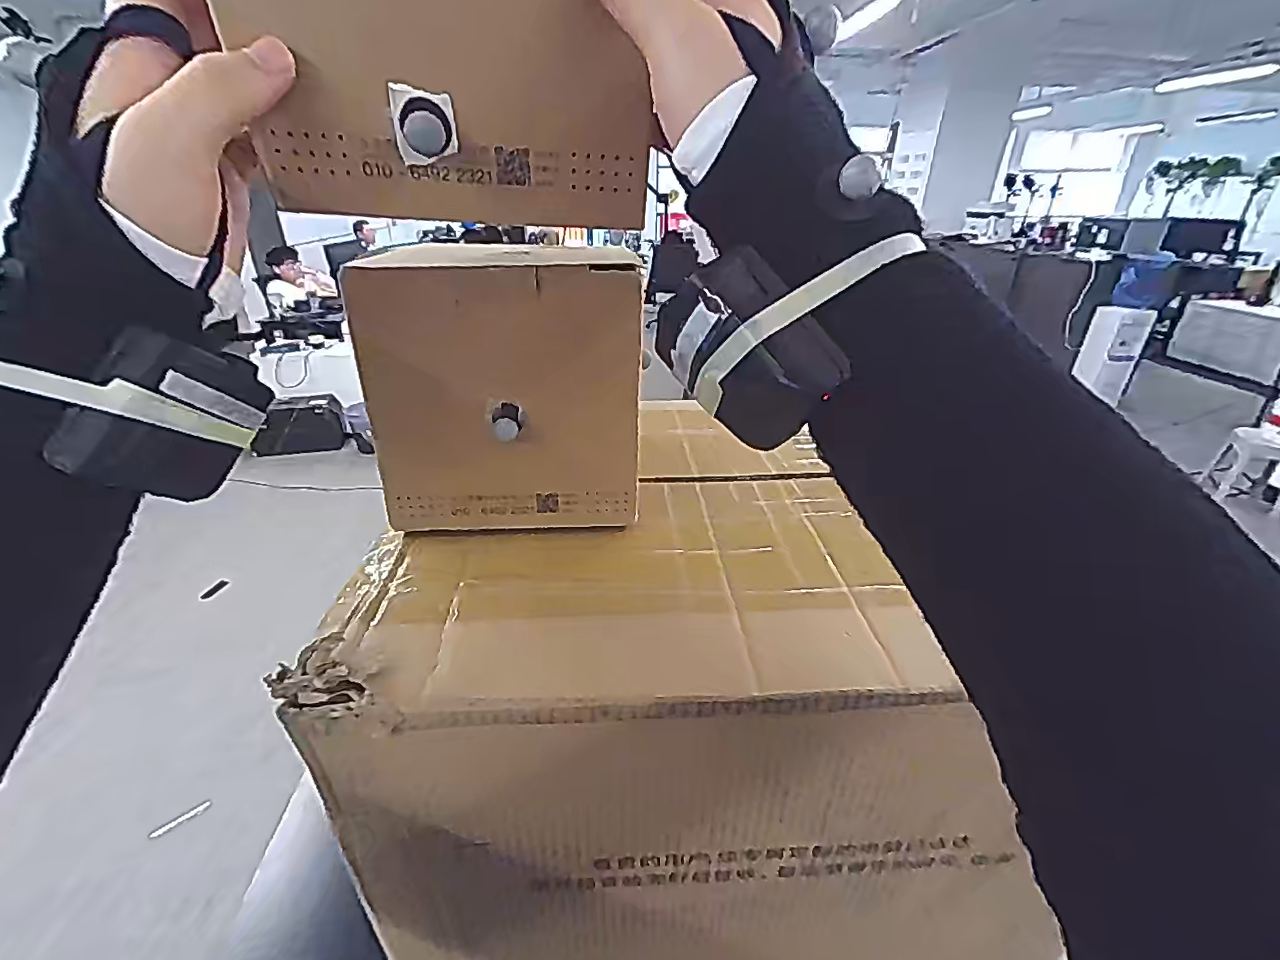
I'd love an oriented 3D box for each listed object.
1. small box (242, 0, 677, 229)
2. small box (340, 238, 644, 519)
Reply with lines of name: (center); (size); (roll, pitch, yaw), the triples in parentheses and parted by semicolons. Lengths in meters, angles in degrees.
small box: (-0.078, -0.235, 0.258); (0.168, 0.176, 0.179); (-3, 41, -9)
small box: (-0.085, -0.080, 0.398); (0.168, 0.176, 0.179); (-1, 27, -5)
